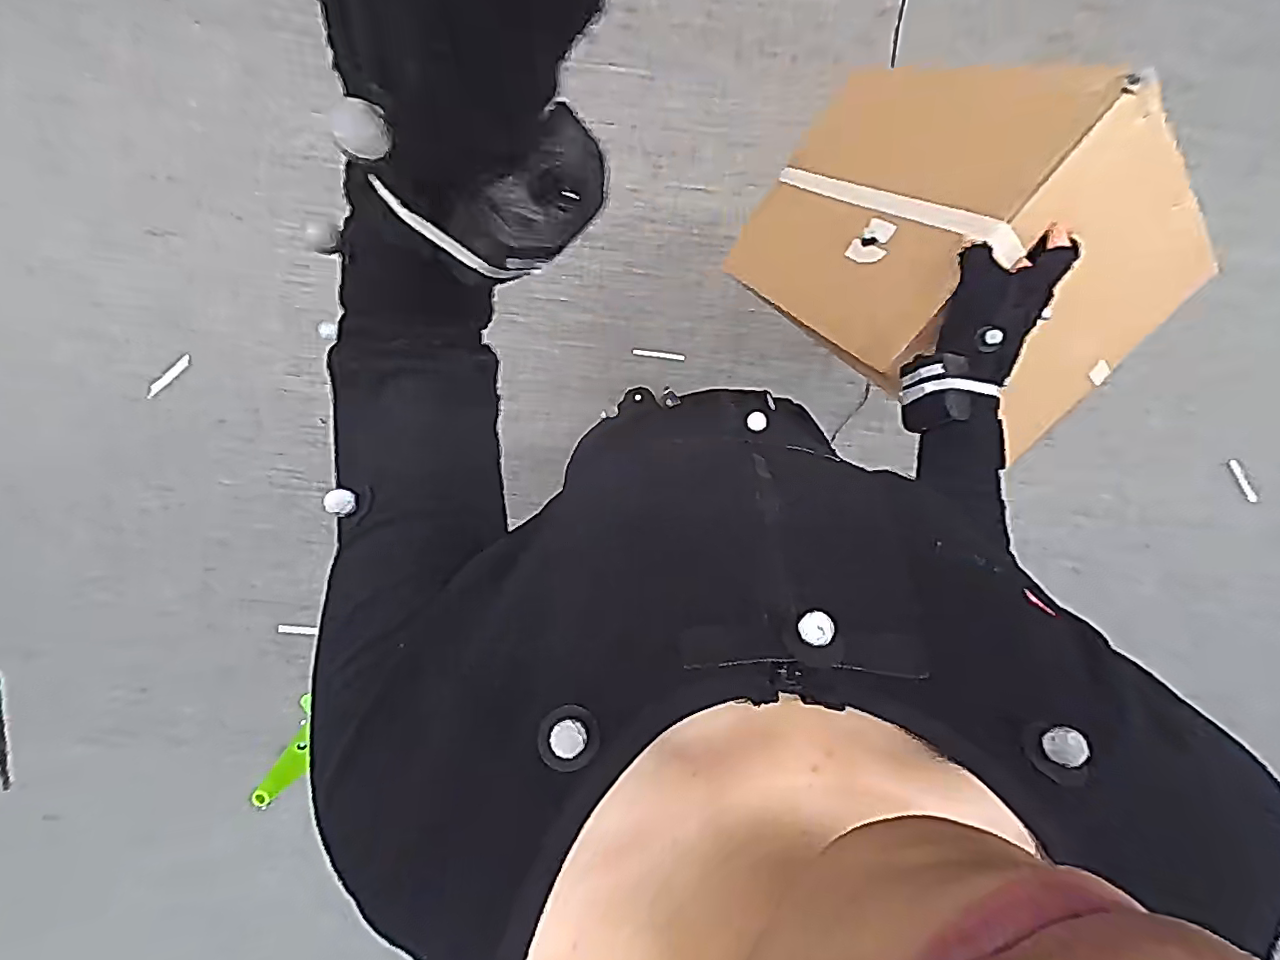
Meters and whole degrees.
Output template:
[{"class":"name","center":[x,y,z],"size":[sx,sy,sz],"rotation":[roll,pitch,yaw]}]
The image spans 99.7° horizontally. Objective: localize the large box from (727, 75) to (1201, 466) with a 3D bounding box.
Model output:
[{"class":"large box","center":[0.396,-0.288,0.740],"size":[0.320,0.408,0.320],"rotation":[23,115,-34]}]
